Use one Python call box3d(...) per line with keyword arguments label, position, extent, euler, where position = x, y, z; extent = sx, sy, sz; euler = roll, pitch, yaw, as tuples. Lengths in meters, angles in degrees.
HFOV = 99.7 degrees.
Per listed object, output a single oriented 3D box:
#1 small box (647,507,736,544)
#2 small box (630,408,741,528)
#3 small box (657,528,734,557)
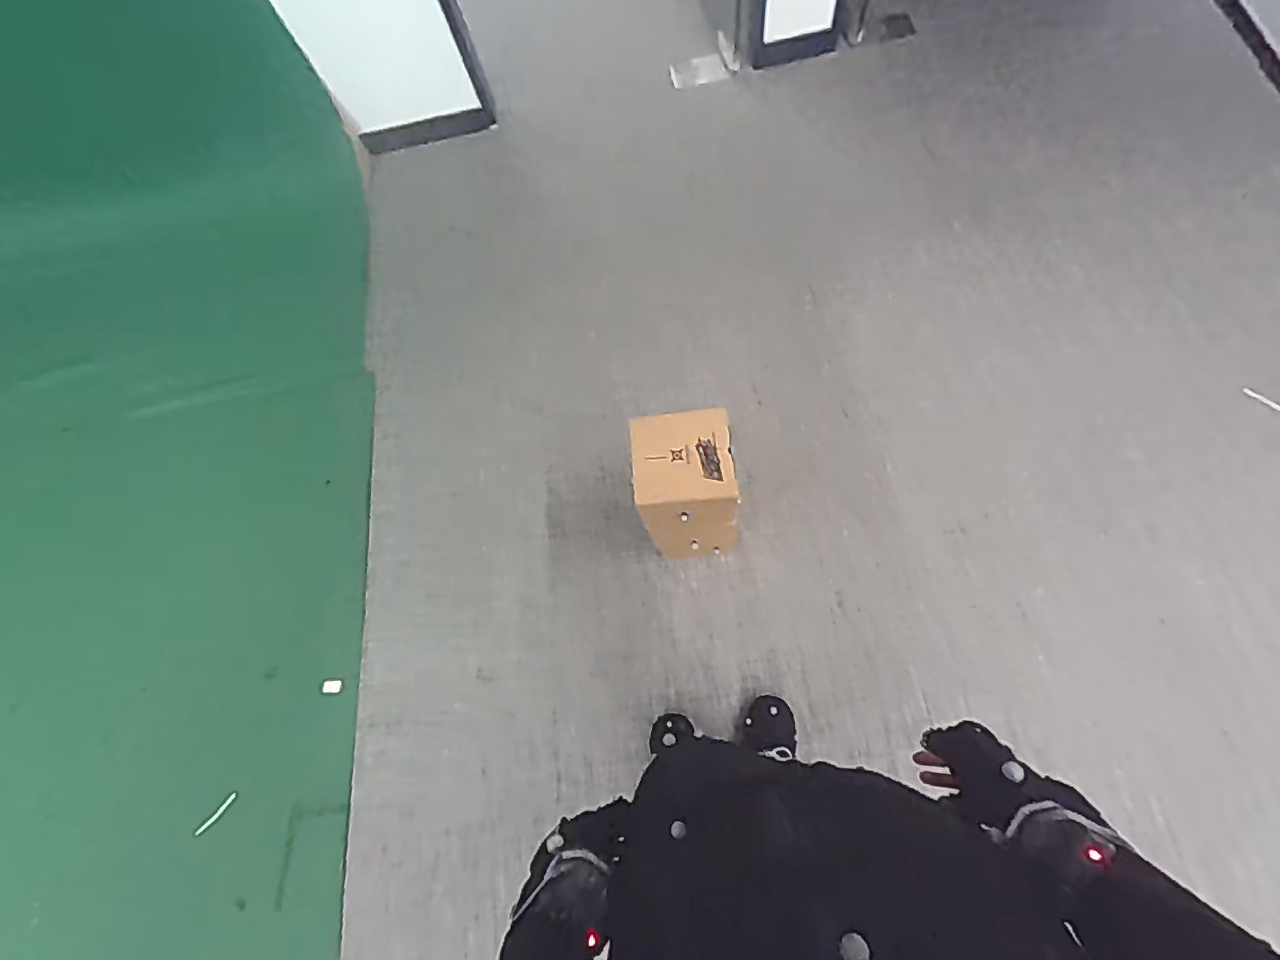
box3d(label="small box", position=(0.107, 0.038, 1.159), extent=(0.179, 0.176, 0.168), euler=(-4, 71, 6))
box3d(label="small box", position=(0.082, -0.015, 1.005), extent=(0.179, 0.176, 0.168), euler=(-8, 71, 4))
box3d(label="small box", position=(0.128, 0.085, 1.315), extent=(0.179, 0.176, 0.168), euler=(-8, 70, 6))
